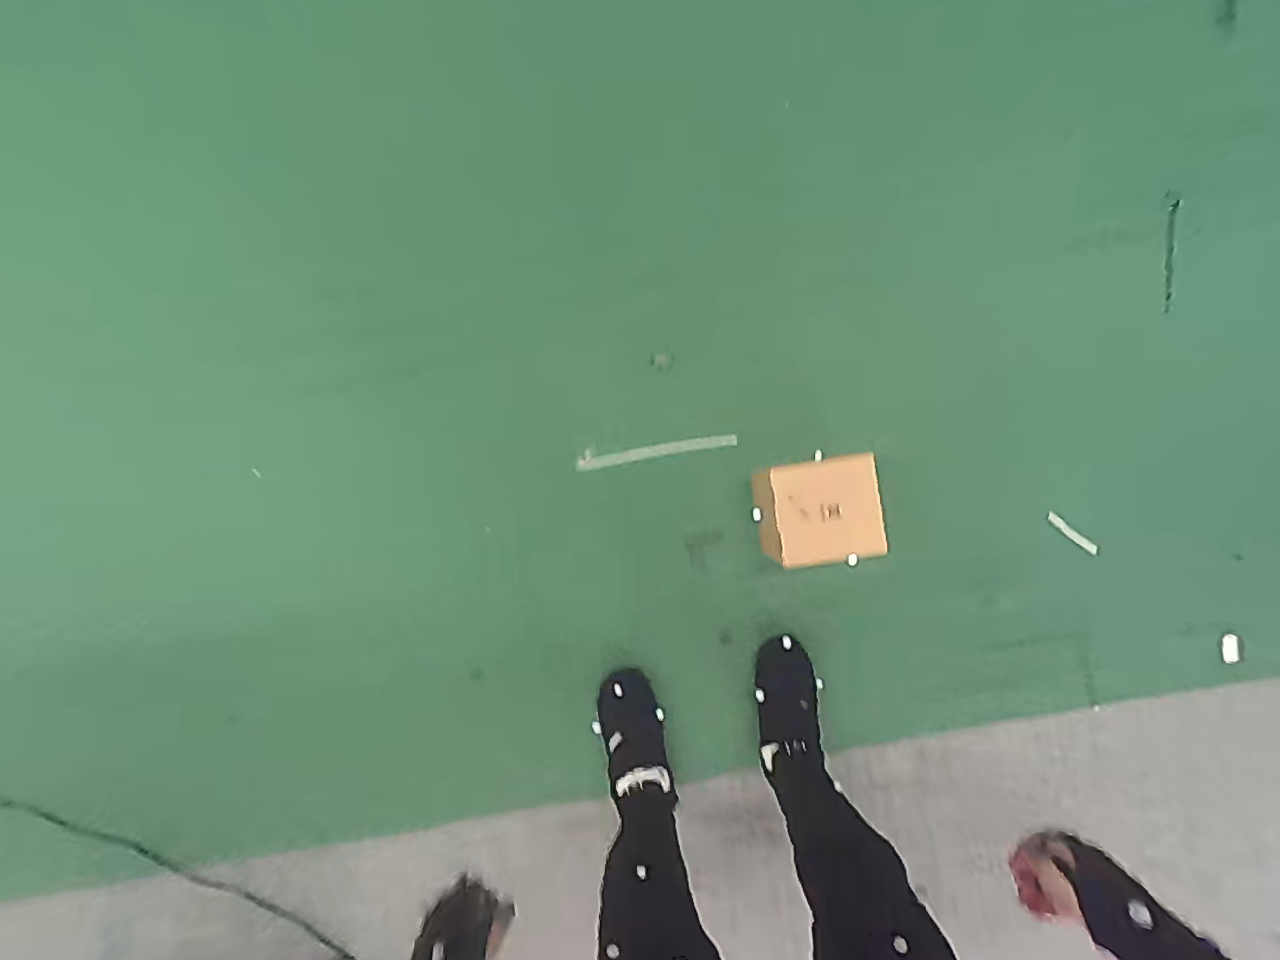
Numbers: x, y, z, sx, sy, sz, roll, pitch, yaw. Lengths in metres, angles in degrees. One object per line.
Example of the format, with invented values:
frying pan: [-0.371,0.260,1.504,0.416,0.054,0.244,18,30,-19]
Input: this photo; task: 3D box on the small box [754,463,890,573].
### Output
small box: [0.318,0.062,0.973,0.179,0.176,0.168,-9,89,1]
